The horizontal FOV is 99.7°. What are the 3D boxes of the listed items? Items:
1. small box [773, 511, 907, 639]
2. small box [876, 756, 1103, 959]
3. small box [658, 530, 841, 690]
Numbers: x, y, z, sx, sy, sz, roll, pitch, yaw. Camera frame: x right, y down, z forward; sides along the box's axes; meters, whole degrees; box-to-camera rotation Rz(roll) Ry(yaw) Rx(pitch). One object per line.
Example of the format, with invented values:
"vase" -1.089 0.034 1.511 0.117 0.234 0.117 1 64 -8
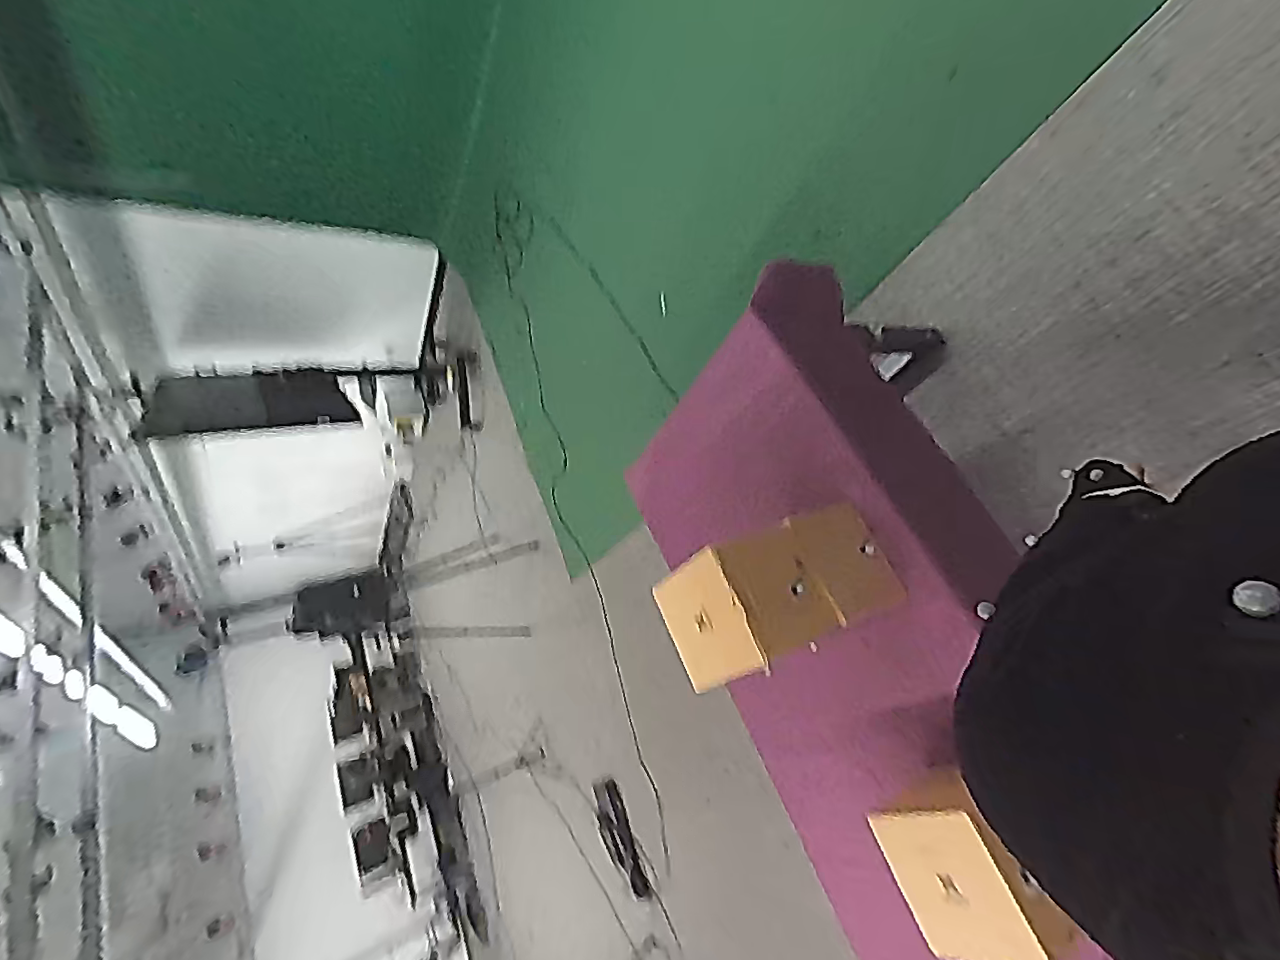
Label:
"small box" 0.298 0.164 0.905 0.168 0.176 0.179 -51 57 47
"small box" 0.474 0.509 0.738 0.168 0.176 0.179 -49 58 47
"small box" 0.162 0.194 0.818 0.179 0.176 0.168 -49 59 47
